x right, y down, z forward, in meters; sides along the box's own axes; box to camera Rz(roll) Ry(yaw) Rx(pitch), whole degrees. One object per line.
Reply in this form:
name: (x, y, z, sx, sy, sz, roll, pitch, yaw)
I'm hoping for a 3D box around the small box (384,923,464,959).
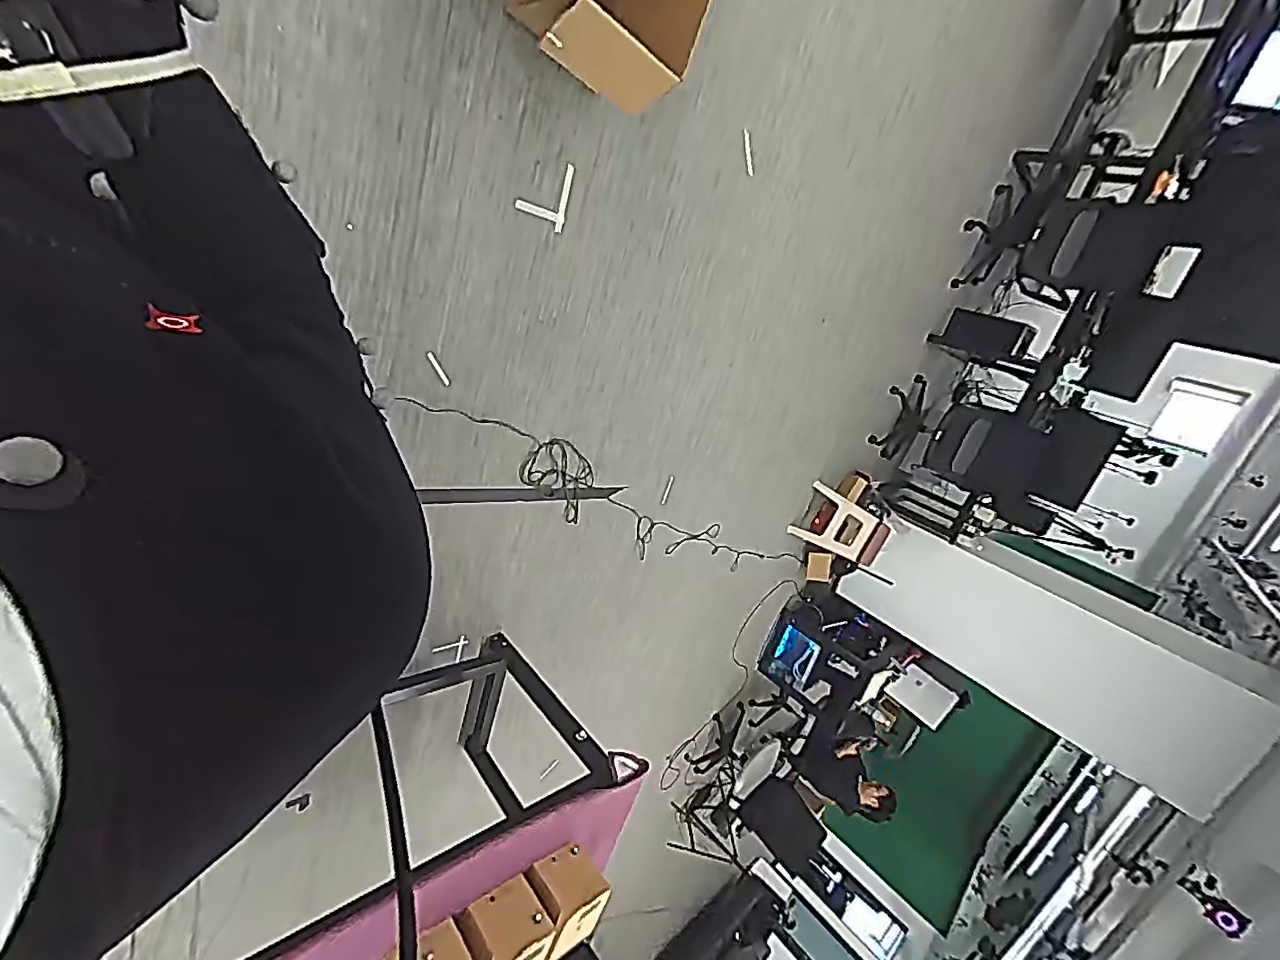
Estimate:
small box: (-0.488, 1.162, 1.210, 0.168, 0.176, 0.179, 3, 113, -49)
